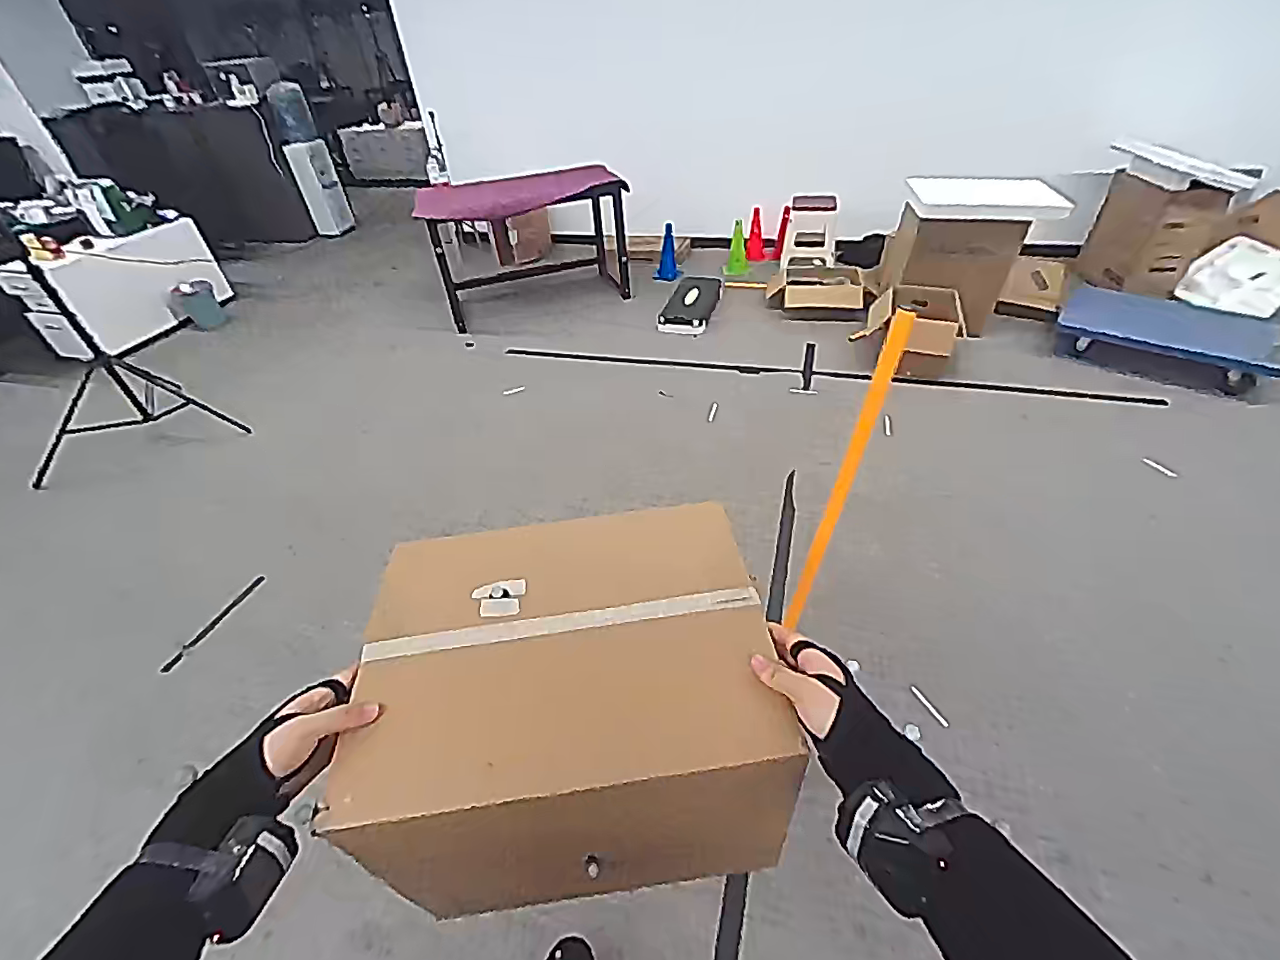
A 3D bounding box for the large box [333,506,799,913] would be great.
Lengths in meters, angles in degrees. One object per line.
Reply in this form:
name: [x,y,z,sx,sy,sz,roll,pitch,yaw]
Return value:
large box: [-0.063,0.273,0.660,0.408,0.320,0.320,-9,39,-2]
